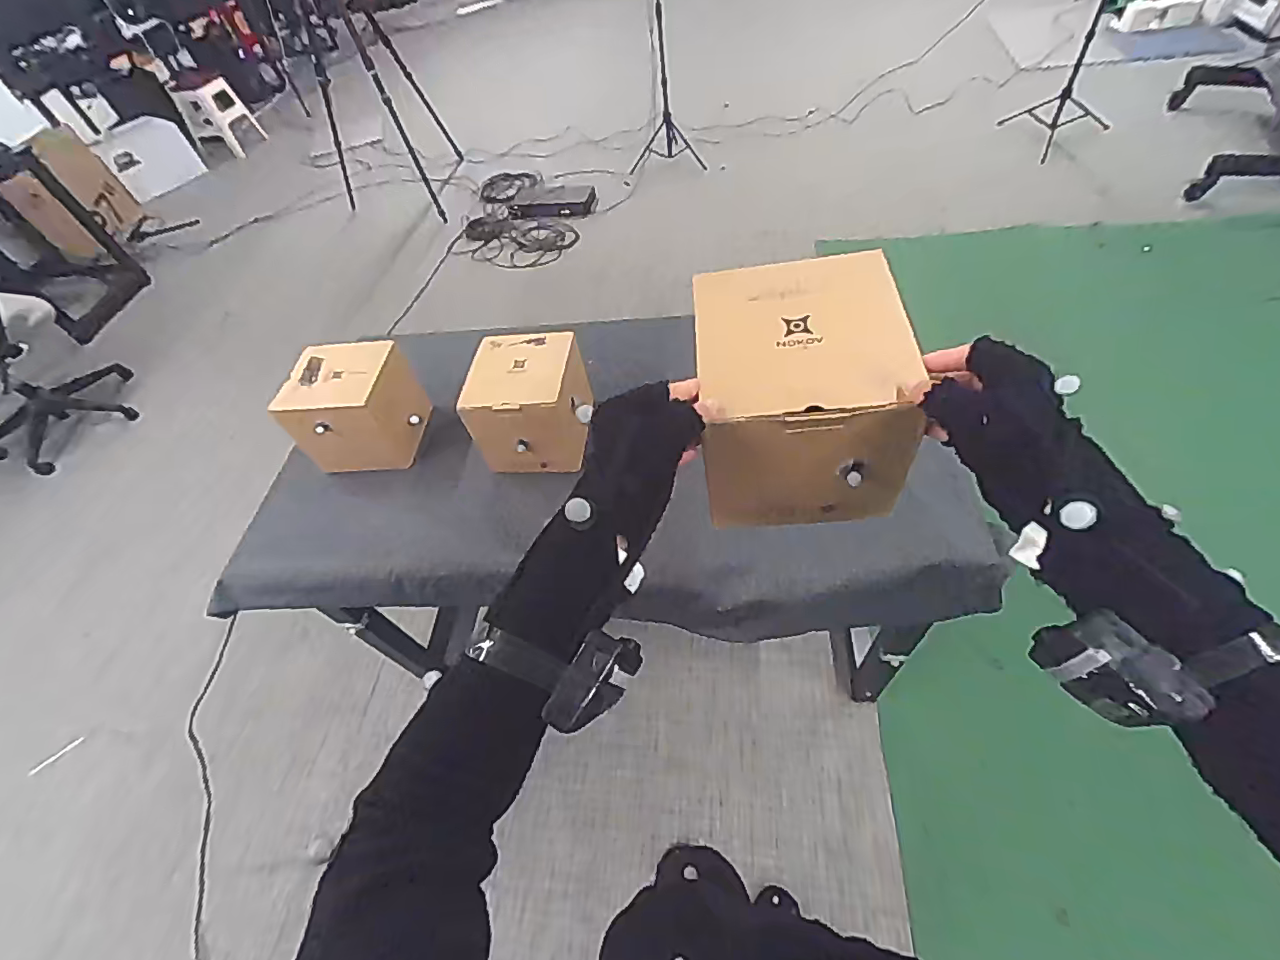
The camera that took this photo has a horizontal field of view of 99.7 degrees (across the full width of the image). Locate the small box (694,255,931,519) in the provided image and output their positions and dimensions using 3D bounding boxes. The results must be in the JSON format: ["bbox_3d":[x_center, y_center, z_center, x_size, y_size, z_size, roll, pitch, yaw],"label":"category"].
[{"bbox_3d":[0.141,-0.073,0.500,0.168,0.176,0.179,-4,55,8],"label":"small box"}]

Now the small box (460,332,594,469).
[{"bbox_3d":[-0.183,-0.132,0.939,0.168,0.176,0.179,0,54,9],"label":"small box"}]

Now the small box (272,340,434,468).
[{"bbox_3d":[-0.511,-0.134,0.992,0.179,0.176,0.168,-2,53,6],"label":"small box"}]
